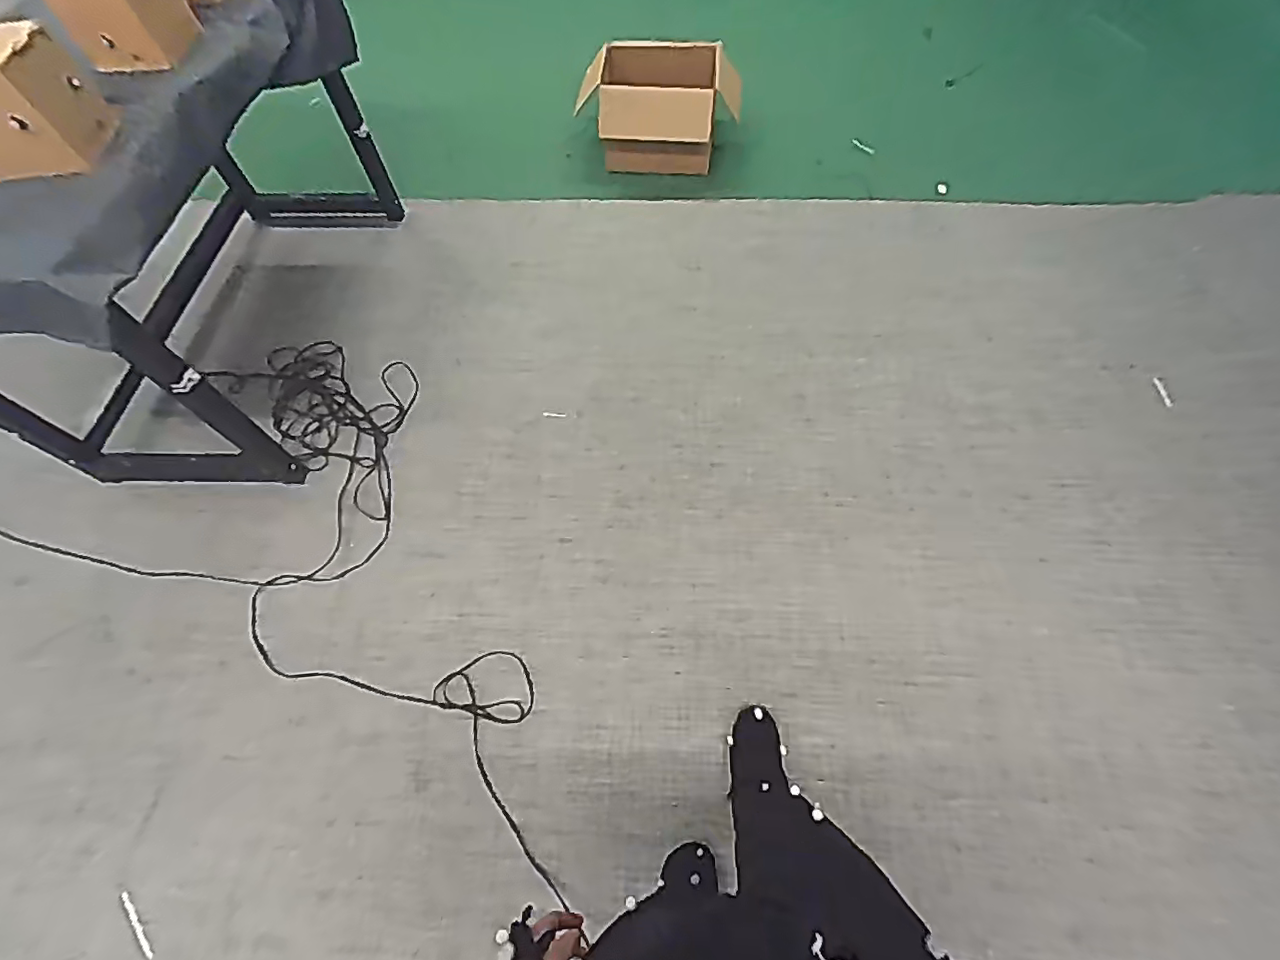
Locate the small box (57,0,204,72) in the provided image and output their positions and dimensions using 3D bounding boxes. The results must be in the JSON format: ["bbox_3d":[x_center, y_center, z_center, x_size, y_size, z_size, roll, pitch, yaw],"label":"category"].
[{"bbox_3d":[-1.063,-0.987,1.123,0.168,0.176,0.179,-1,62,1],"label":"small box"}]

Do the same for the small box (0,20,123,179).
[{"bbox_3d":[-1.076,-0.657,0.943,0.179,0.176,0.168,-8,60,-2],"label":"small box"}]
